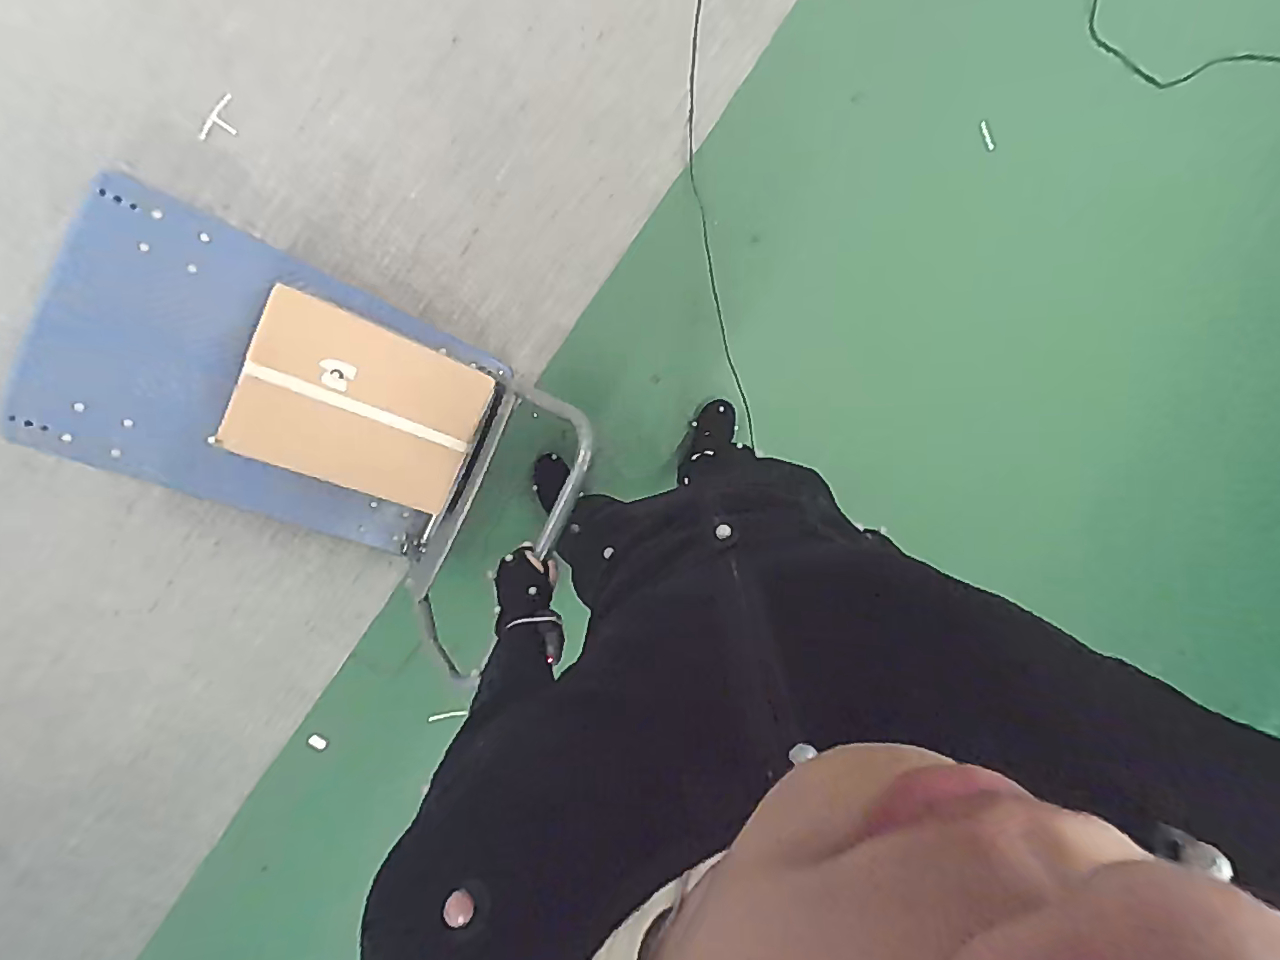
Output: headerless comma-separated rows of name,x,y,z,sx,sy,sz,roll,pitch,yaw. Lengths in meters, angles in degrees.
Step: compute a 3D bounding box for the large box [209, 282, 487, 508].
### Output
large box,-0.585,-0.177,1.152,0.408,0.320,0.320,22,95,-26
